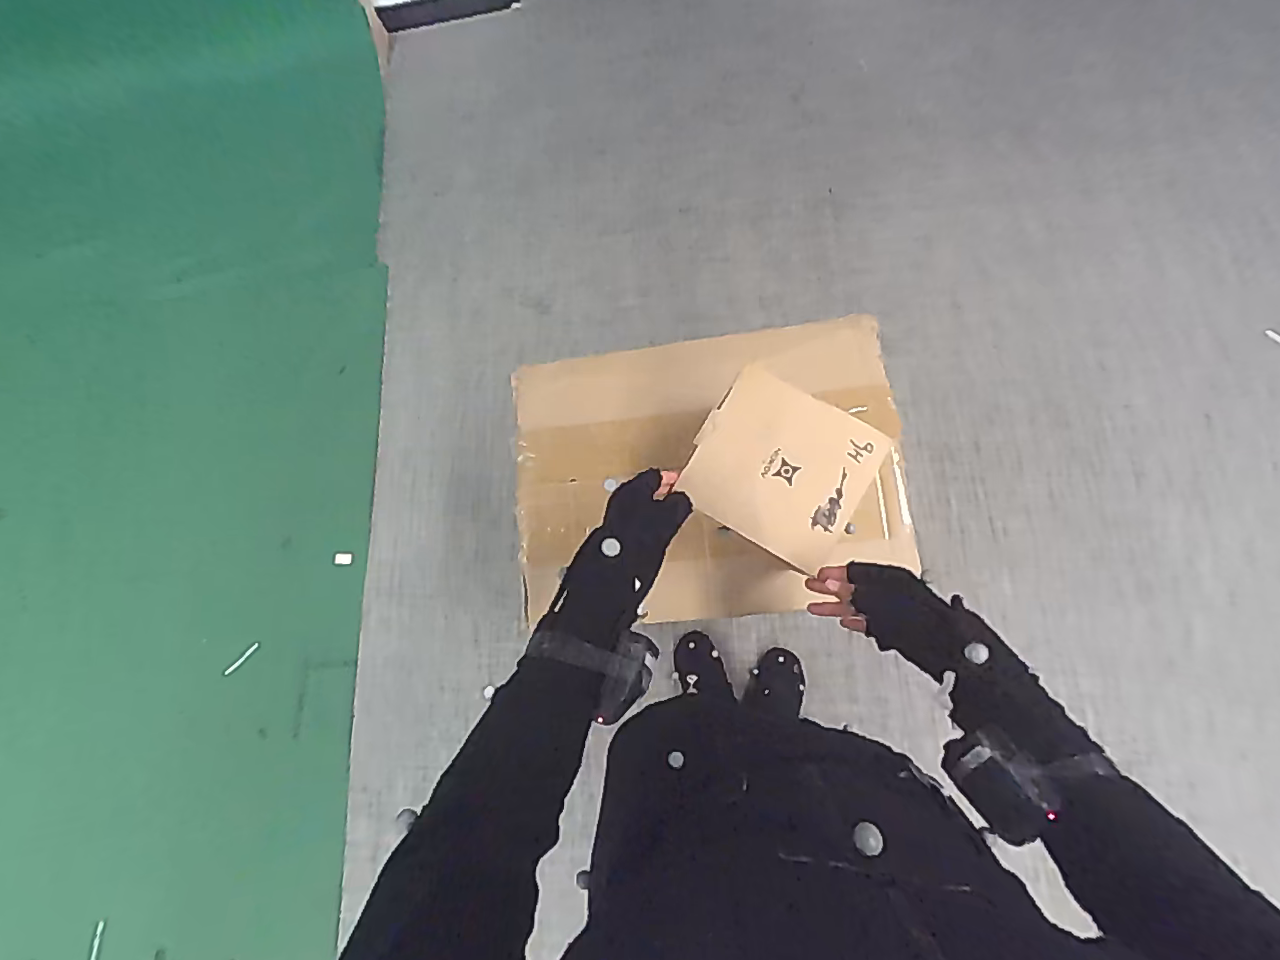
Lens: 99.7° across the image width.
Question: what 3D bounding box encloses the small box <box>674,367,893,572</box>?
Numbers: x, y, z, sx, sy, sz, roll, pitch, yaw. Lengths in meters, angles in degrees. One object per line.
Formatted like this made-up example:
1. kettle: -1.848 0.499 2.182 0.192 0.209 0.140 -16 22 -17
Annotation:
1. small box: 0.159 -0.003 0.648 0.179 0.176 0.168 29 88 10
